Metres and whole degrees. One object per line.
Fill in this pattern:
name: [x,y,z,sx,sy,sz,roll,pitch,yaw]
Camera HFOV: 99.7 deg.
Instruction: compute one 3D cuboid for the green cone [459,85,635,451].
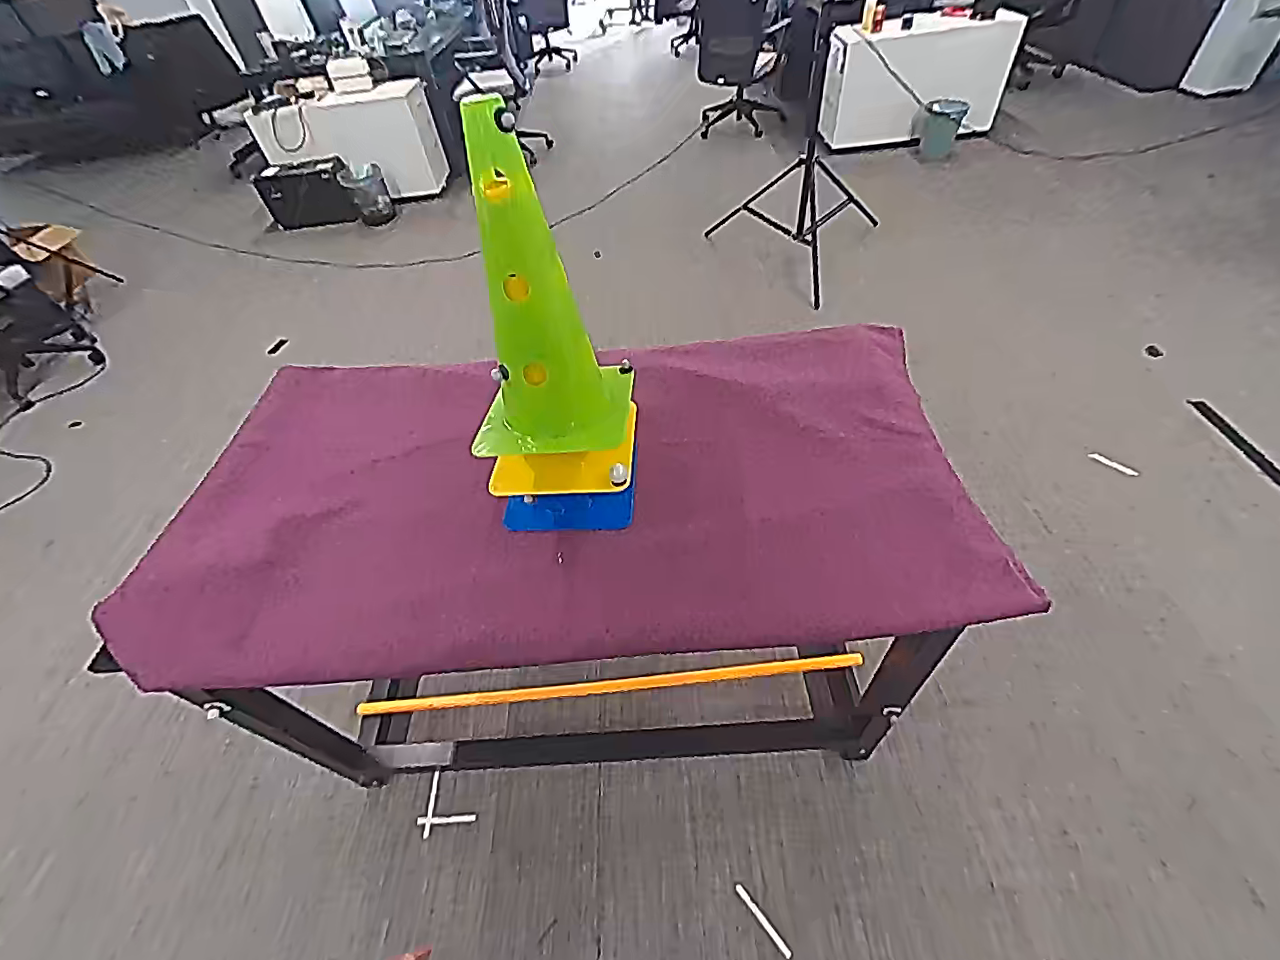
green cone: [-0.132,-0.234,0.627,0.200,0.368,0.202,-4,42,7]
